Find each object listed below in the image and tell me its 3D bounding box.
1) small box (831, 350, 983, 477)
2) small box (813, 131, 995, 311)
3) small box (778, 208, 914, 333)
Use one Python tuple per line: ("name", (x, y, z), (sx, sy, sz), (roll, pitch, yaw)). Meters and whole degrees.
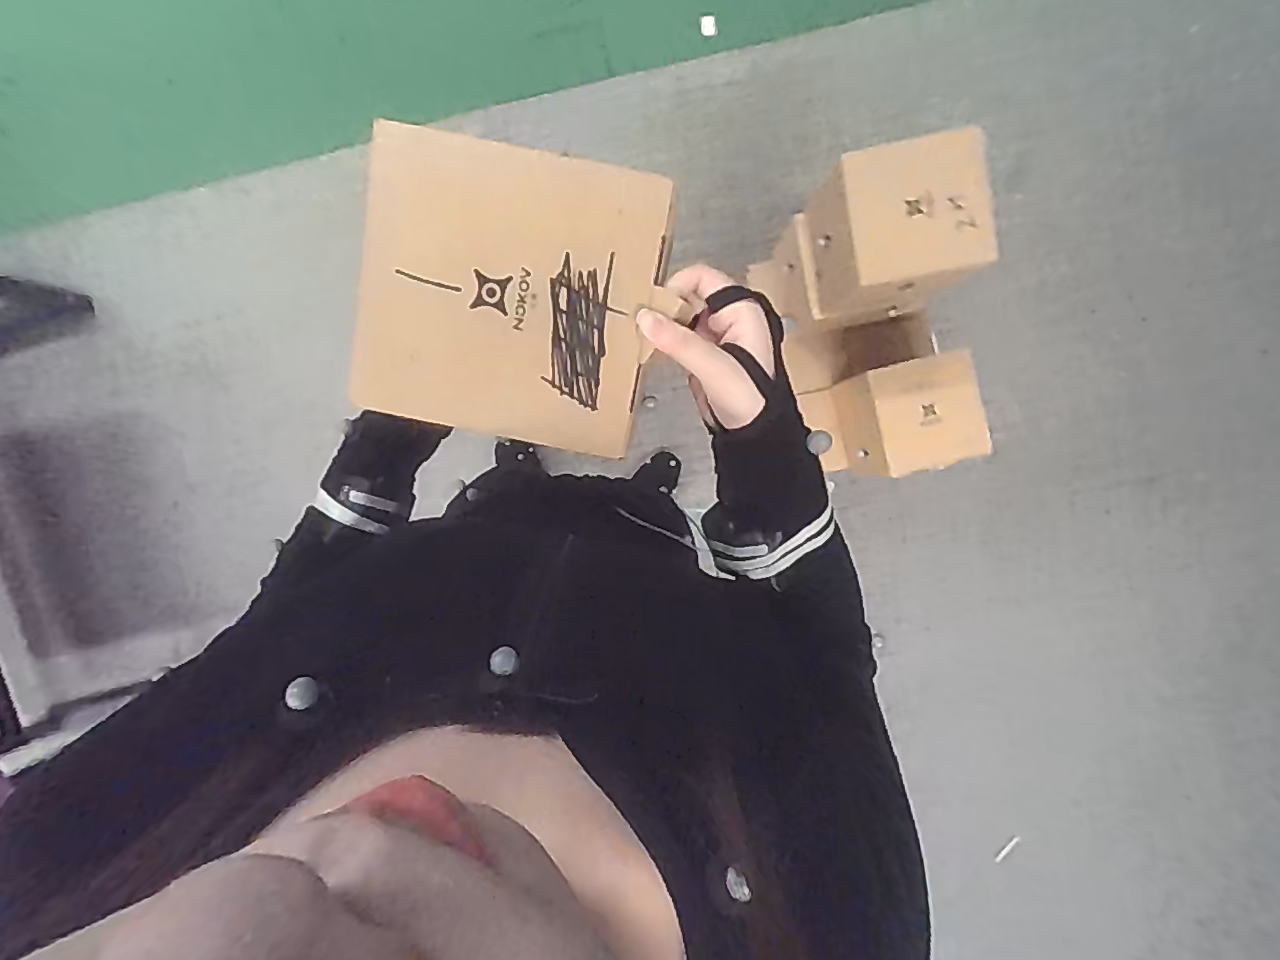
("small box", (0.451, -0.110, 0.936), (0.168, 0.176, 0.179), (-12, 93, 1))
("small box", (0.351, -0.344, 0.753), (0.179, 0.176, 0.168), (-9, 96, 2))
("small box", (0.341, -0.356, 0.918), (0.179, 0.176, 0.168), (-10, 95, 2))
